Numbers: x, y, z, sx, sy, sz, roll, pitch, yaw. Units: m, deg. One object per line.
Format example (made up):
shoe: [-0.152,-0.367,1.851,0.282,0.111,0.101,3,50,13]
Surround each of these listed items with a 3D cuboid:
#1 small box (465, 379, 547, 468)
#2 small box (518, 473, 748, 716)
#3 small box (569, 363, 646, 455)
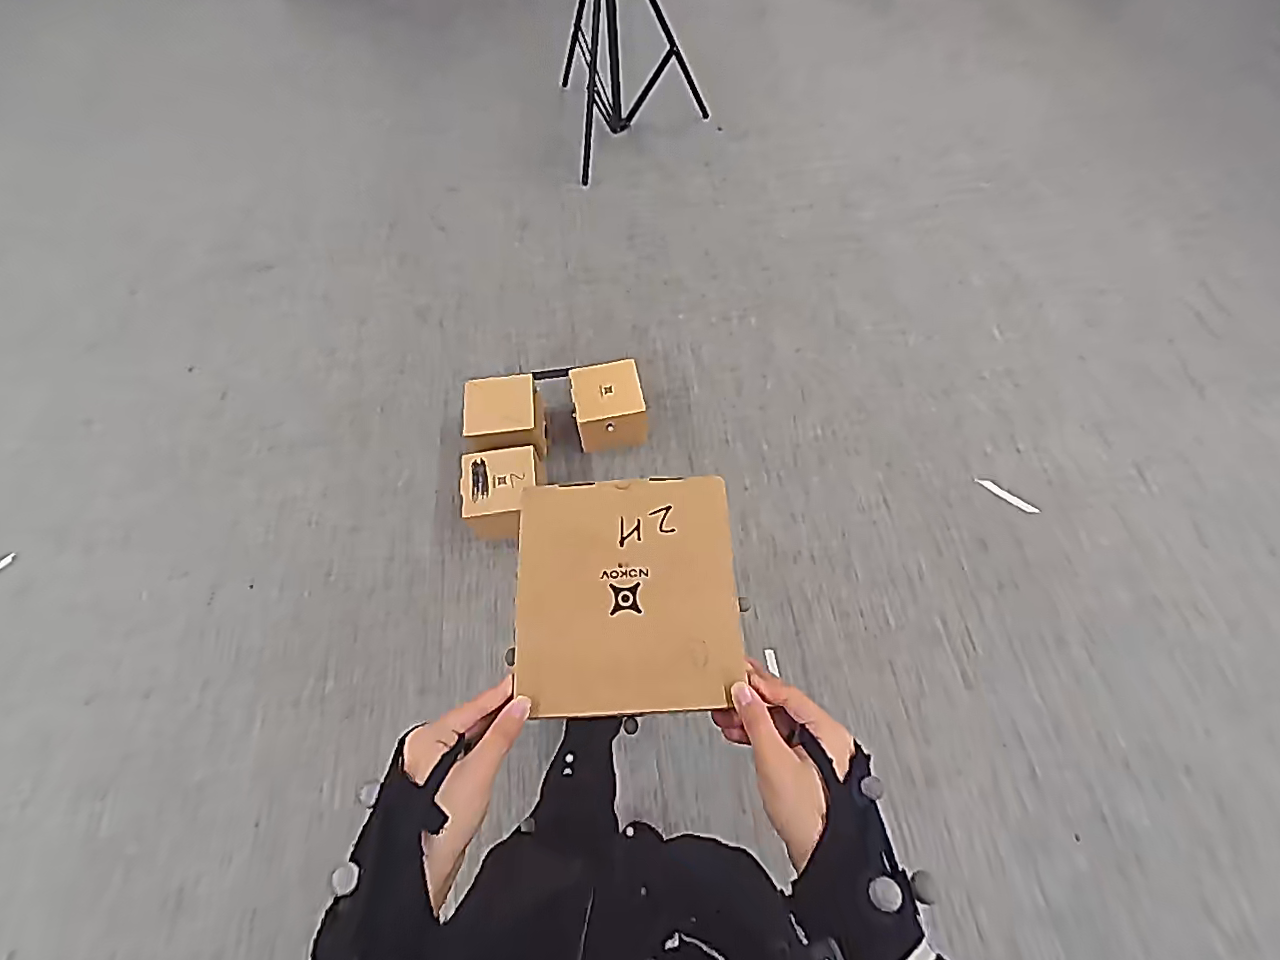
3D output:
small box: [-0.351,-0.150,1.429,0.179,0.176,0.168,-6,65,-2]
small box: [-0.004,0.109,0.479,0.168,0.176,0.179,-3,66,1]
small box: [-0.083,-0.185,1.446,0.179,0.176,0.168,-11,65,-3]
